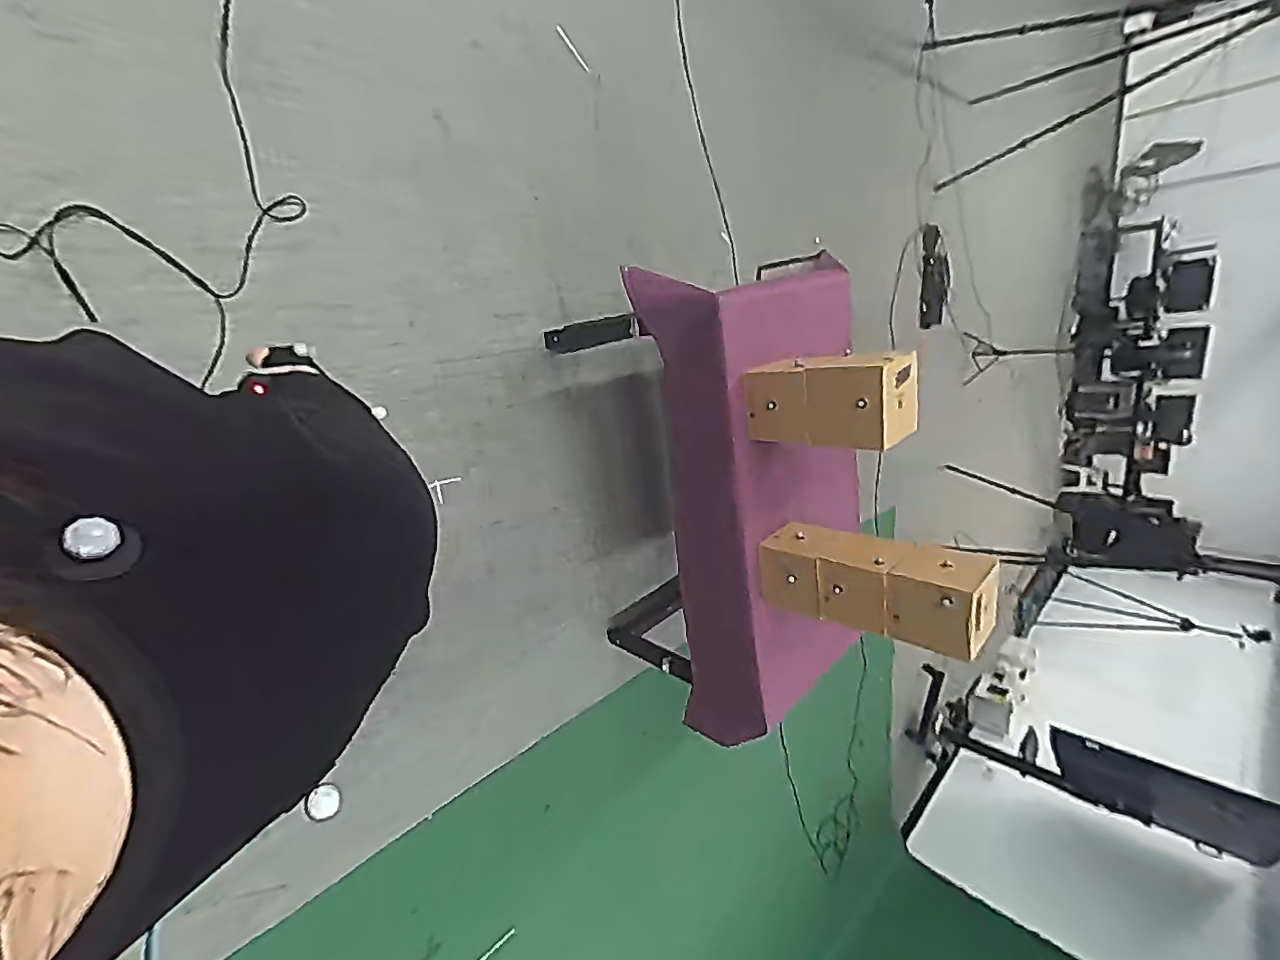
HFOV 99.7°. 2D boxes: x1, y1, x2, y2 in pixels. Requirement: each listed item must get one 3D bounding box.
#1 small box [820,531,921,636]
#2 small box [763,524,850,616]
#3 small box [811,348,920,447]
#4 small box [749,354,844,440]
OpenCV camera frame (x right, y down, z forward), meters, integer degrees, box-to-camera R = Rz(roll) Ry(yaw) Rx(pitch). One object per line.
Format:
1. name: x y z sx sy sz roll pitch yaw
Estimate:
1. small box: 0.552 0.238 1.299 0.179 0.176 0.168 -23 113 -38
2. small box: 0.437 0.224 1.414 0.168 0.176 0.179 -25 113 -37
3. small box: 0.482 -0.179 1.162 0.168 0.176 0.179 -25 114 -37
4. small box: 0.372 -0.199 1.282 0.179 0.176 0.168 -24 113 -38
